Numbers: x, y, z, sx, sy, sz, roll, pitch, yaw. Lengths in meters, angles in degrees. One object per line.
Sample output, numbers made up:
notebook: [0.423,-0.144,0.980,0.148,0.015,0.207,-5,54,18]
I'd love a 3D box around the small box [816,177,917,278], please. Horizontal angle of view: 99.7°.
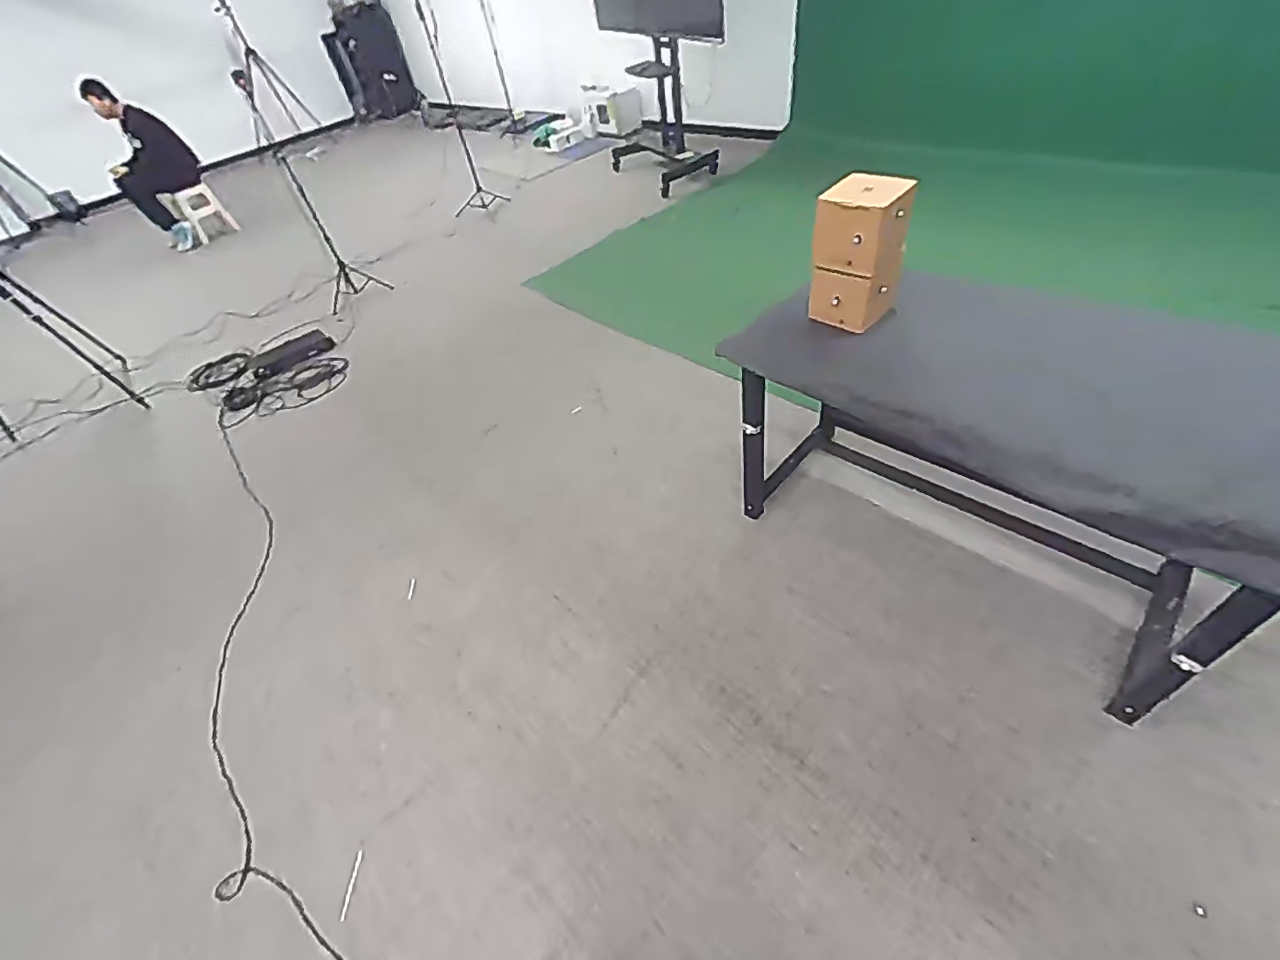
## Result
small box: [0.557,-0.628,1.348,0.168,0.176,0.179,31,58,32]

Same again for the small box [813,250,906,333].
small box: [0.589,-0.525,1.470,0.179,0.176,0.168,-39,52,-24]
